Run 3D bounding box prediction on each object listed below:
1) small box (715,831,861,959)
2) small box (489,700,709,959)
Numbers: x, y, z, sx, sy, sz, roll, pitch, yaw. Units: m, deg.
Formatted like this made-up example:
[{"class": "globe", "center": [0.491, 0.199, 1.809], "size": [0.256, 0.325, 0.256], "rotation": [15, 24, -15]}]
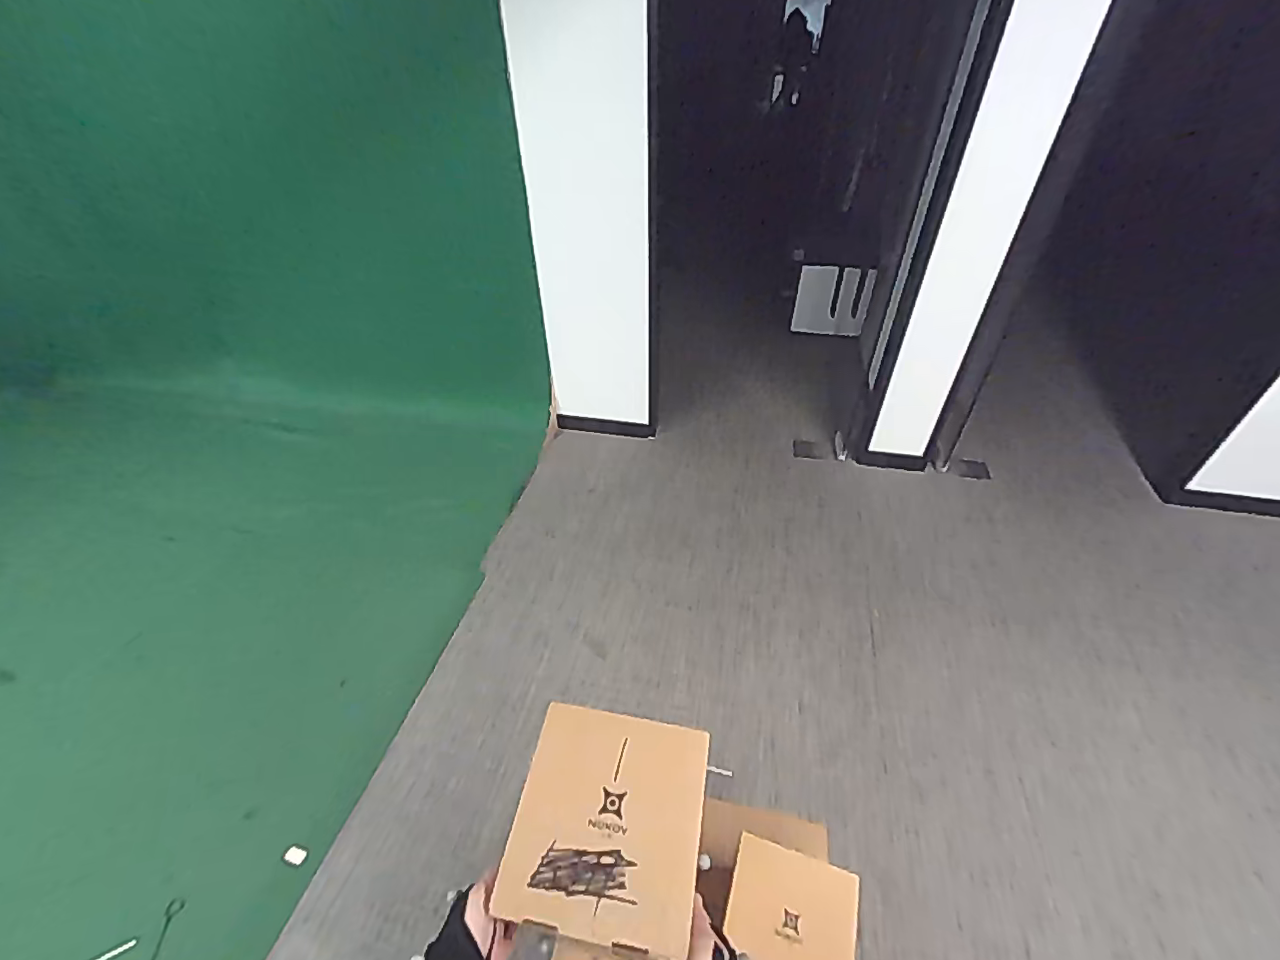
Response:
[{"class": "small box", "center": [0.201, 0.640, 0.756], "size": [0.168, 0.176, 0.179], "rotation": [11, 42, 16]}, {"class": "small box", "center": [-0.026, 0.350, 0.537], "size": [0.168, 0.176, 0.179], "rotation": [7, 46, 7]}]
